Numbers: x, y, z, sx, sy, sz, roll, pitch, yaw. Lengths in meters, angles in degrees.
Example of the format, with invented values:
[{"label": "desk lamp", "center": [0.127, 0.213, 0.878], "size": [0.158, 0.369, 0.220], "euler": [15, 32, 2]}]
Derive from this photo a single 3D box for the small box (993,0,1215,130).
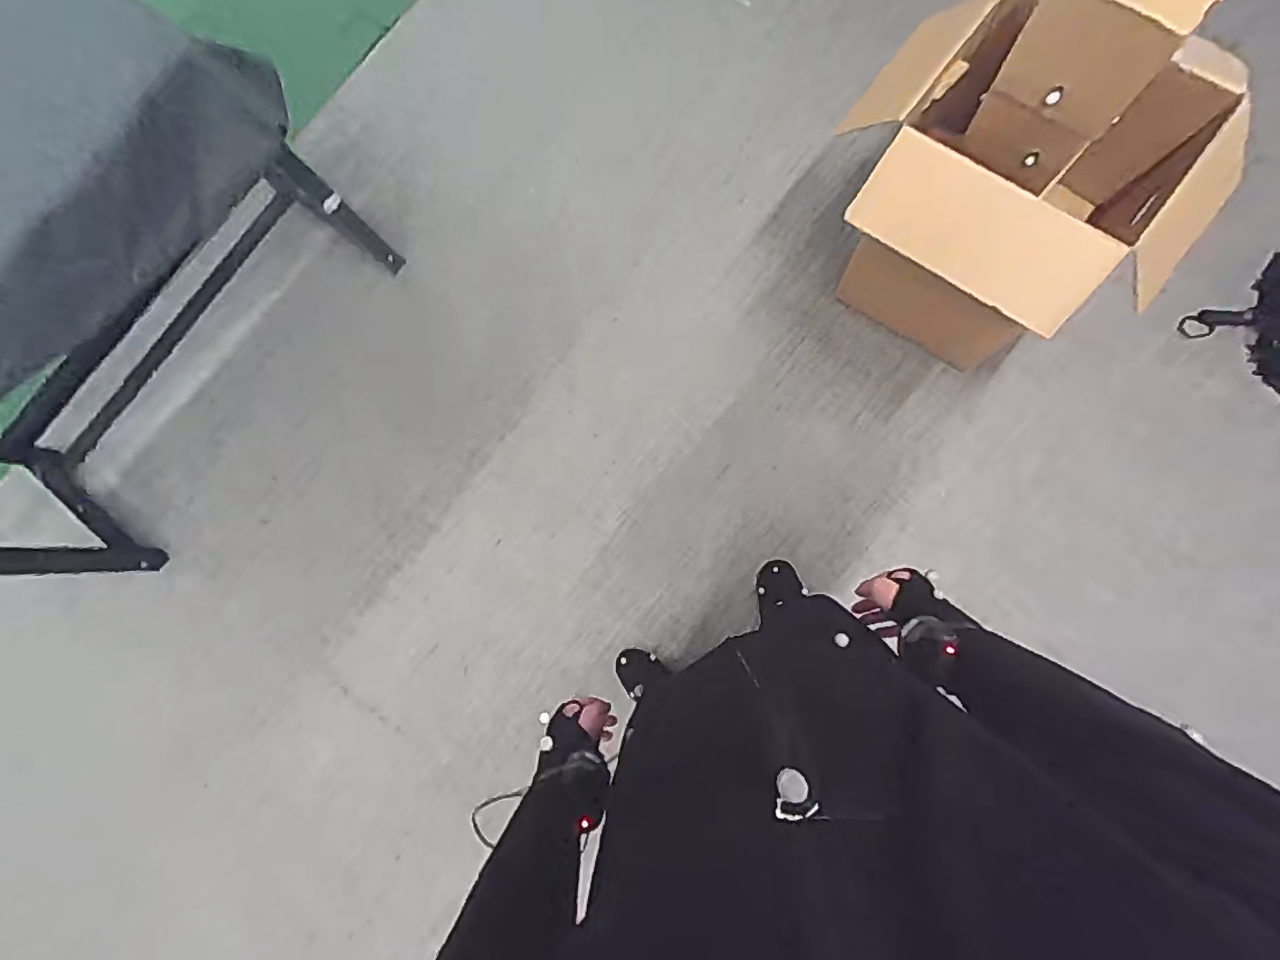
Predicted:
[{"label": "small box", "center": [0.641, -0.627, 0.737], "size": [0.179, 0.176, 0.168], "euler": [39, 89, 12]}]
